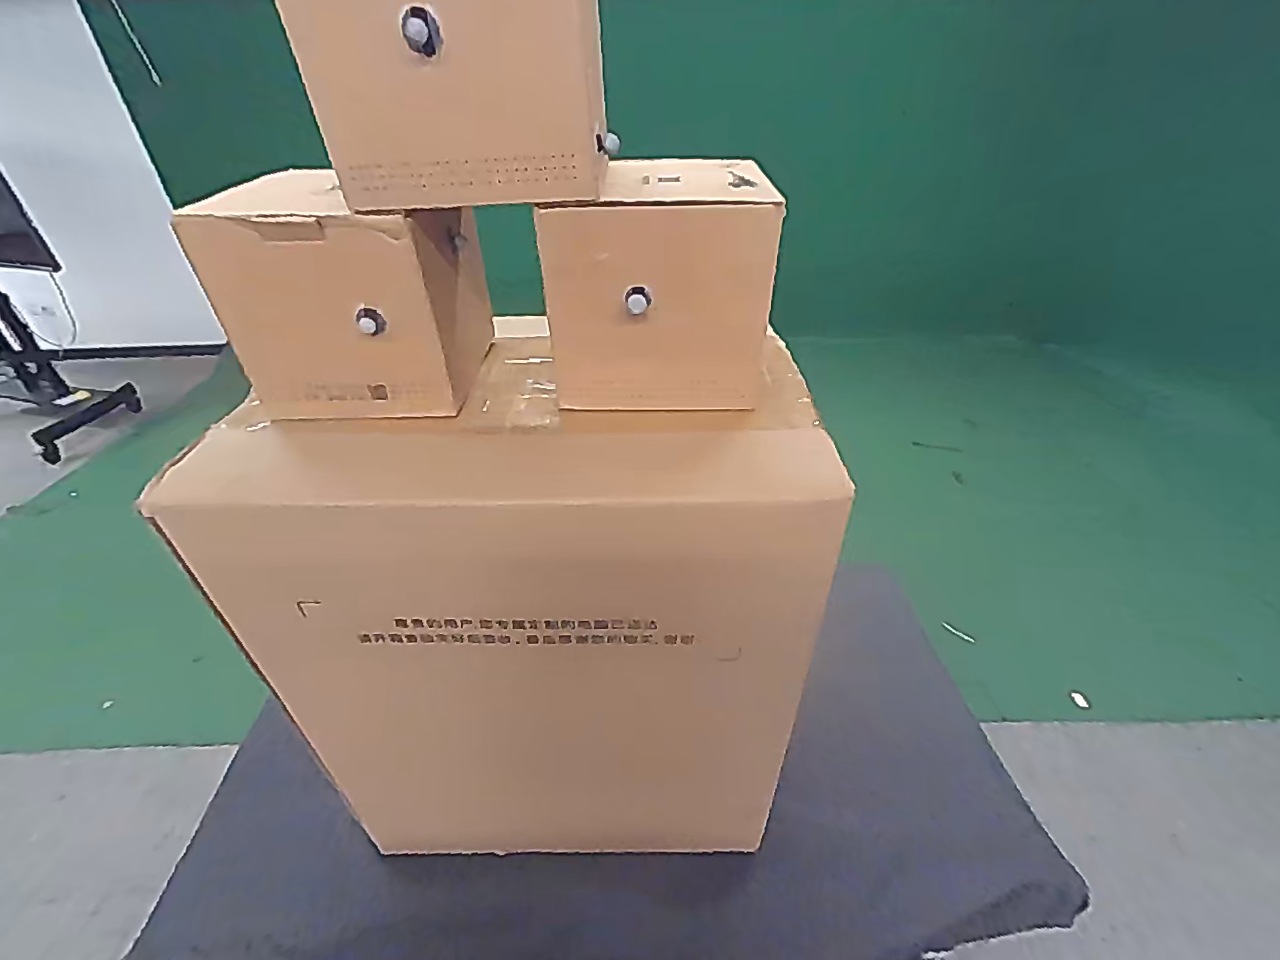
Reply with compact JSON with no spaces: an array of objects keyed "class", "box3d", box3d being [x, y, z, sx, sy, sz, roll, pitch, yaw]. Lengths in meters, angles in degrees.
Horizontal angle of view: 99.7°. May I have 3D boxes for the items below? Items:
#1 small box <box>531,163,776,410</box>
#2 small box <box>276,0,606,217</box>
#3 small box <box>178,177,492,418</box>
[{"class":"small box","box3d":[0.015,-0.173,0.486,0.179,0.176,0.168,-1,39,2]},{"class":"small box","box3d":[-0.118,-0.298,0.385,0.179,0.176,0.168,-3,39,1]},{"class":"small box","box3d":[-0.241,-0.166,0.490,0.168,0.176,0.179,0,37,-1]}]
